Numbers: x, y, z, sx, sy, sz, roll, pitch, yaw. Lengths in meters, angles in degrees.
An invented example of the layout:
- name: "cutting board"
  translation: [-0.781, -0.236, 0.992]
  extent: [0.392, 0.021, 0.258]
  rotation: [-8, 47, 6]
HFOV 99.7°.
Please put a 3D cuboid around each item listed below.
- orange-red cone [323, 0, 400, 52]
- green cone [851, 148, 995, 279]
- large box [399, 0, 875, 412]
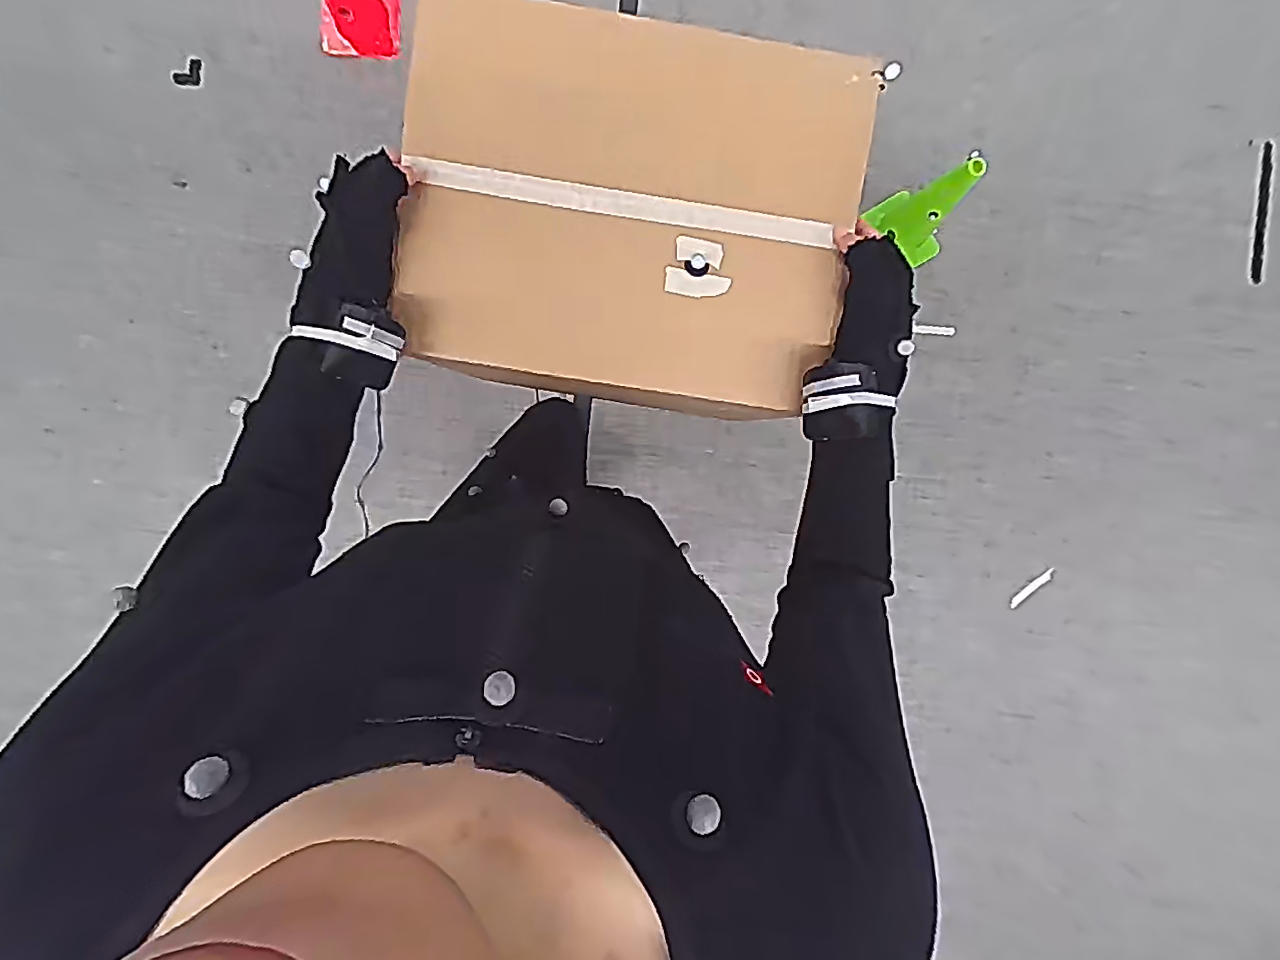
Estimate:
- name: "orange-red cone"
  translation: [-0.727, -1.219, 1.246]
  extent: [0.198, 0.360, 0.199]
  rotation: [3, 93, -1]
- name: "green cone"
  translation: [0.708, -0.672, 1.306]
  extent: [0.202, 0.368, 0.200]
  rotation: [-32, 93, -2]
- name: "large box"
  translation: [-0.011, -0.263, 0.634]
  extent: [0.408, 0.320, 0.320]
  rotation: [8, 95, -3]
